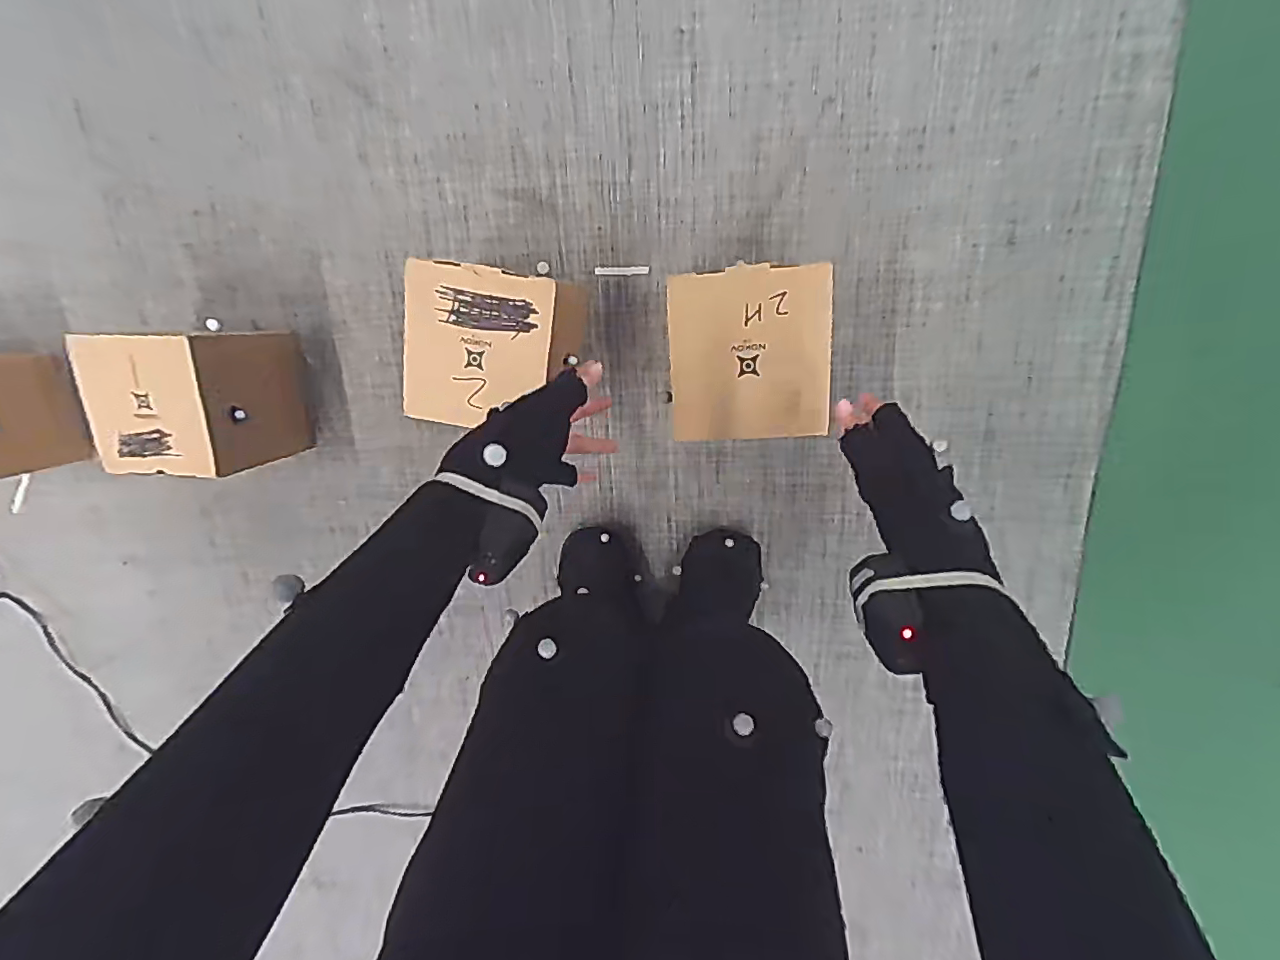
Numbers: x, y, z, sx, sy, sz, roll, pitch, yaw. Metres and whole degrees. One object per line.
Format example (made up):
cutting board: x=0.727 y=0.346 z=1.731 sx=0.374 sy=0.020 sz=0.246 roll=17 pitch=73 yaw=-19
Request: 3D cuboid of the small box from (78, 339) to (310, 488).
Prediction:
small box: x=-0.589 y=-0.099 z=0.742 sx=0.168 sy=0.176 sz=0.179 roll=2 pitch=106 yaw=7

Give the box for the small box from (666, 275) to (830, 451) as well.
small box: x=0.121 y=-0.140 z=0.640 sx=0.168 sy=0.176 sz=0.179 roll=-2 pitch=106 yaw=7

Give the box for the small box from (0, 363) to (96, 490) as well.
small box: x=-0.987 y=-0.079 z=0.803 sx=0.168 sy=0.176 sz=0.179 roll=-2 pitch=106 yaw=9
